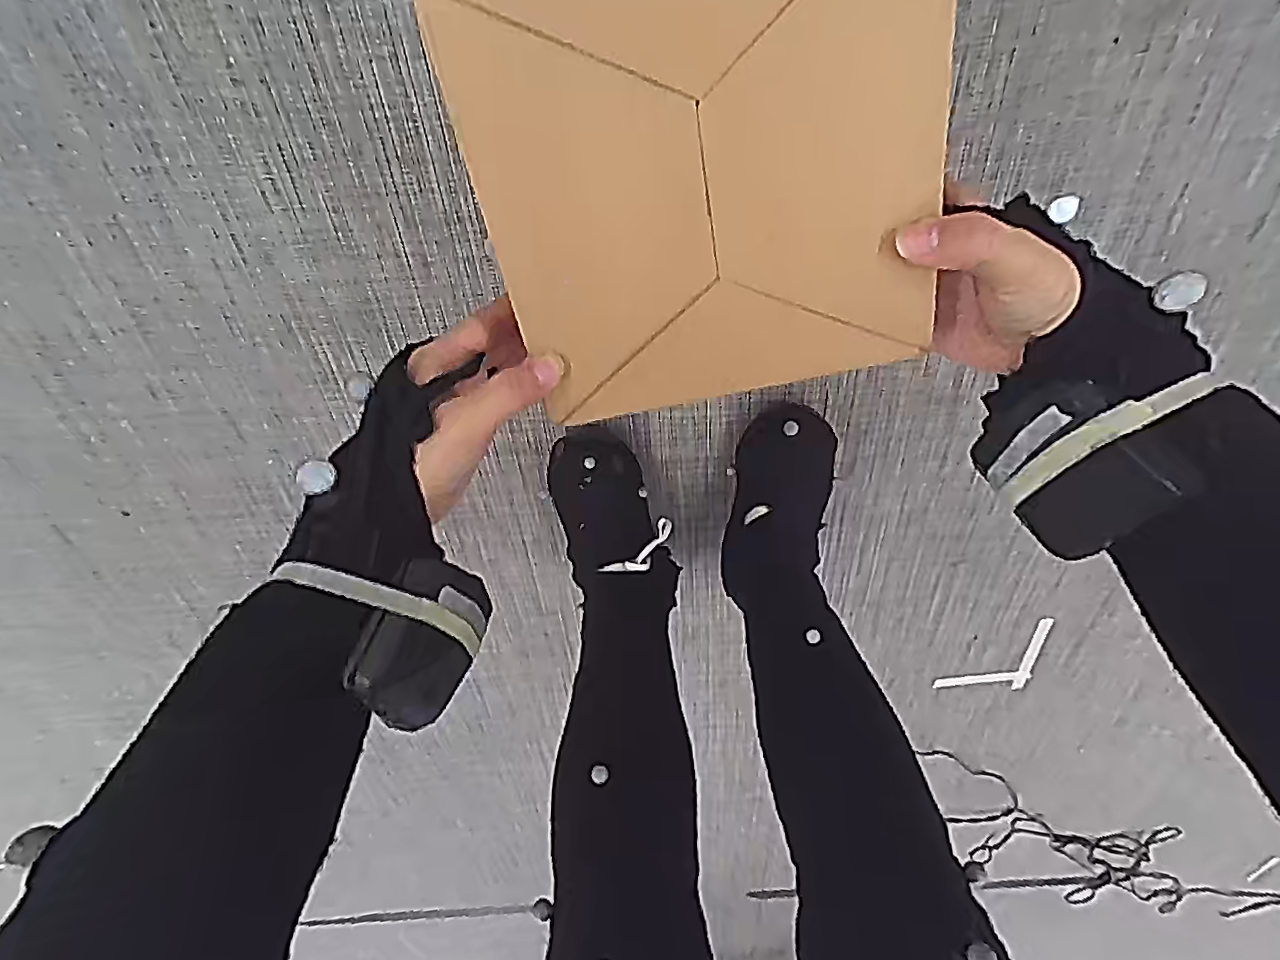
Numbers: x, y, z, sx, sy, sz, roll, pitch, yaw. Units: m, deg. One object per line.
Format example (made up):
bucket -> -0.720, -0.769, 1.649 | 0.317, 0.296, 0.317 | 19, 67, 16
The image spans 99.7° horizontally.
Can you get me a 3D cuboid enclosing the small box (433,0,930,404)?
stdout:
small box -> 0.027, -0.154, 0.277 | 0.179, 0.176, 0.168 | -10, 121, 5
